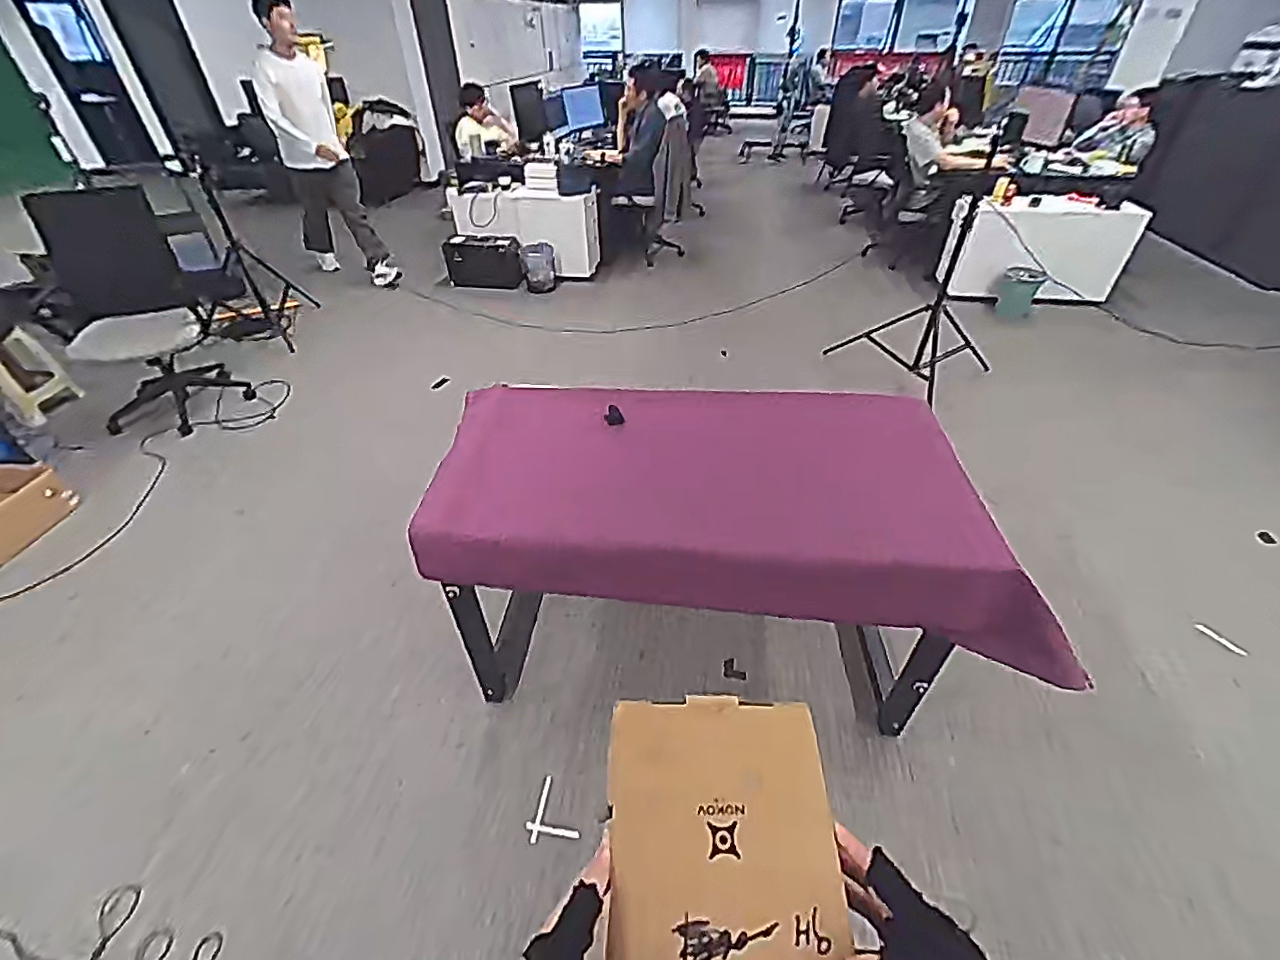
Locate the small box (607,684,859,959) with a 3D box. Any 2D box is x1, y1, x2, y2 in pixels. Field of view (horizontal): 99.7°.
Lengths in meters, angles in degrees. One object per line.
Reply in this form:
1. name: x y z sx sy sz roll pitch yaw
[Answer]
1. small box: 0.058 0.290 0.465 0.168 0.176 0.179 2 54 -3
